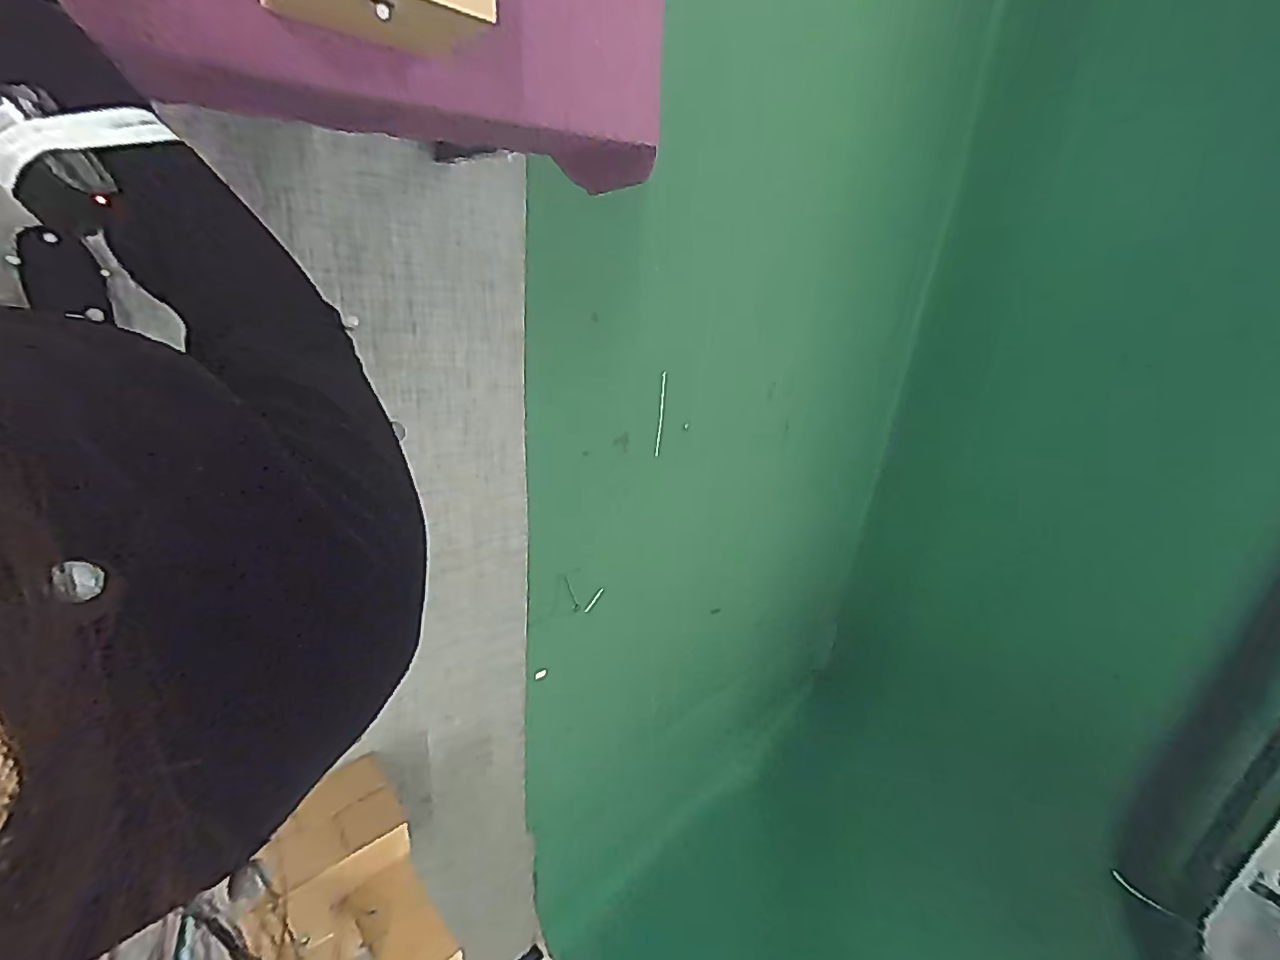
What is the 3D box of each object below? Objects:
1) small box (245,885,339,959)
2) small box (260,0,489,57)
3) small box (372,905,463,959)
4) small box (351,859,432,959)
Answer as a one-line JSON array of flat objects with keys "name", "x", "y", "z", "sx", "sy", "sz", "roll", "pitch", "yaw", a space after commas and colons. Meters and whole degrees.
[{"name": "small box", "x": -0.870, "y": 1.182, "z": 1.356, "sx": 0.168, "sy": 0.176, "sz": 0.179, "roll": -12, "pitch": 118, "yaw": -43}, {"name": "small box", "x": -0.269, "y": -0.543, "z": 0.523, "sx": 0.179, "sy": 0.176, "sz": 0.168, "roll": -18, "pitch": 120, "yaw": -41}, {"name": "small box", "x": -0.599, "y": 1.321, "z": 1.468, "sx": 0.179, "sy": 0.176, "sz": 0.168, "roll": -18, "pitch": 123, "yaw": -40}, {"name": "small box", "x": -0.716, "y": 1.263, "z": 1.566, "sx": 0.179, "sy": 0.176, "sz": 0.168, "roll": -19, "pitch": 125, "yaw": -41}]
